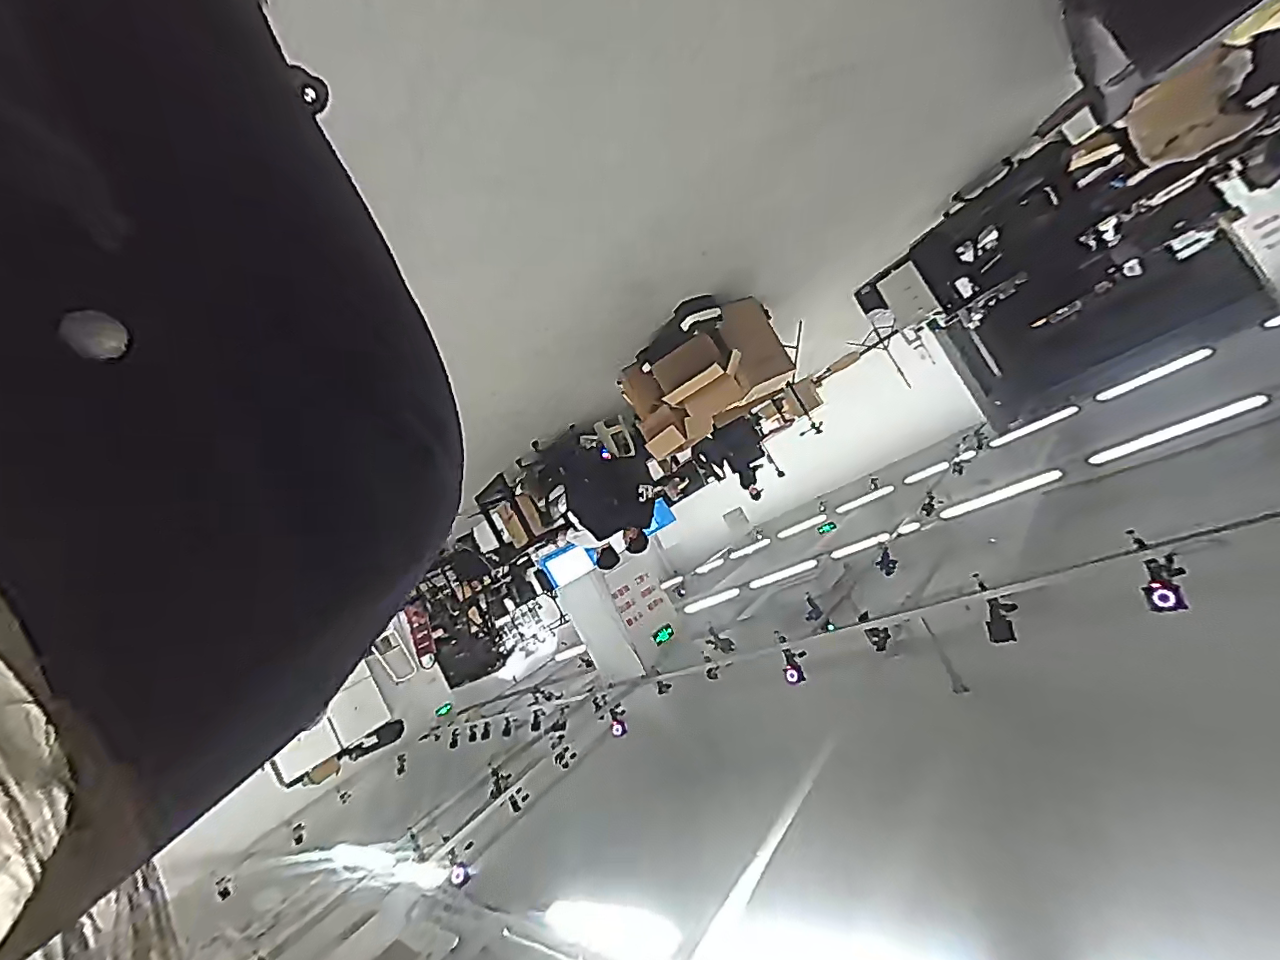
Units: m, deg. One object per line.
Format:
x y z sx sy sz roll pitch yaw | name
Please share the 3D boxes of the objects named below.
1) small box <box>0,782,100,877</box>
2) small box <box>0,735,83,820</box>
-1.794 1.055 1.641 0.168 0.176 0.179 -34 174 42 | small box
-1.875 0.914 1.668 0.168 0.176 0.179 -24 172 -45 | small box
